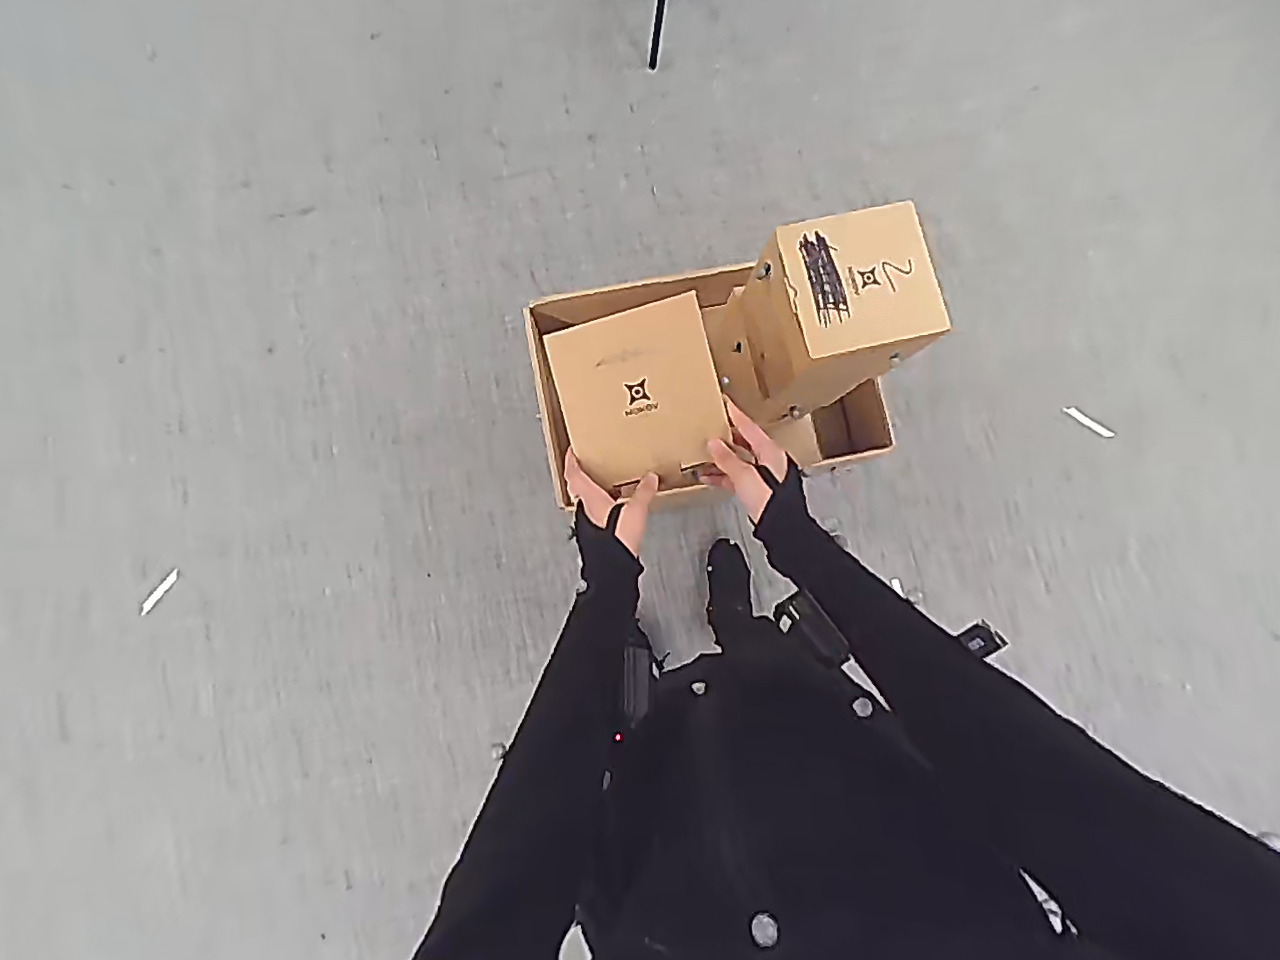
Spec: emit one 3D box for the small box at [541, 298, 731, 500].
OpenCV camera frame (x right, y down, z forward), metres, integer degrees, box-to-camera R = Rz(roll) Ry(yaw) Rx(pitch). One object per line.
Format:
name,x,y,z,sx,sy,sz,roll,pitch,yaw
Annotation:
small box,0.004,-0.088,0.633,0.168,0.176,0.179,-15,93,6
